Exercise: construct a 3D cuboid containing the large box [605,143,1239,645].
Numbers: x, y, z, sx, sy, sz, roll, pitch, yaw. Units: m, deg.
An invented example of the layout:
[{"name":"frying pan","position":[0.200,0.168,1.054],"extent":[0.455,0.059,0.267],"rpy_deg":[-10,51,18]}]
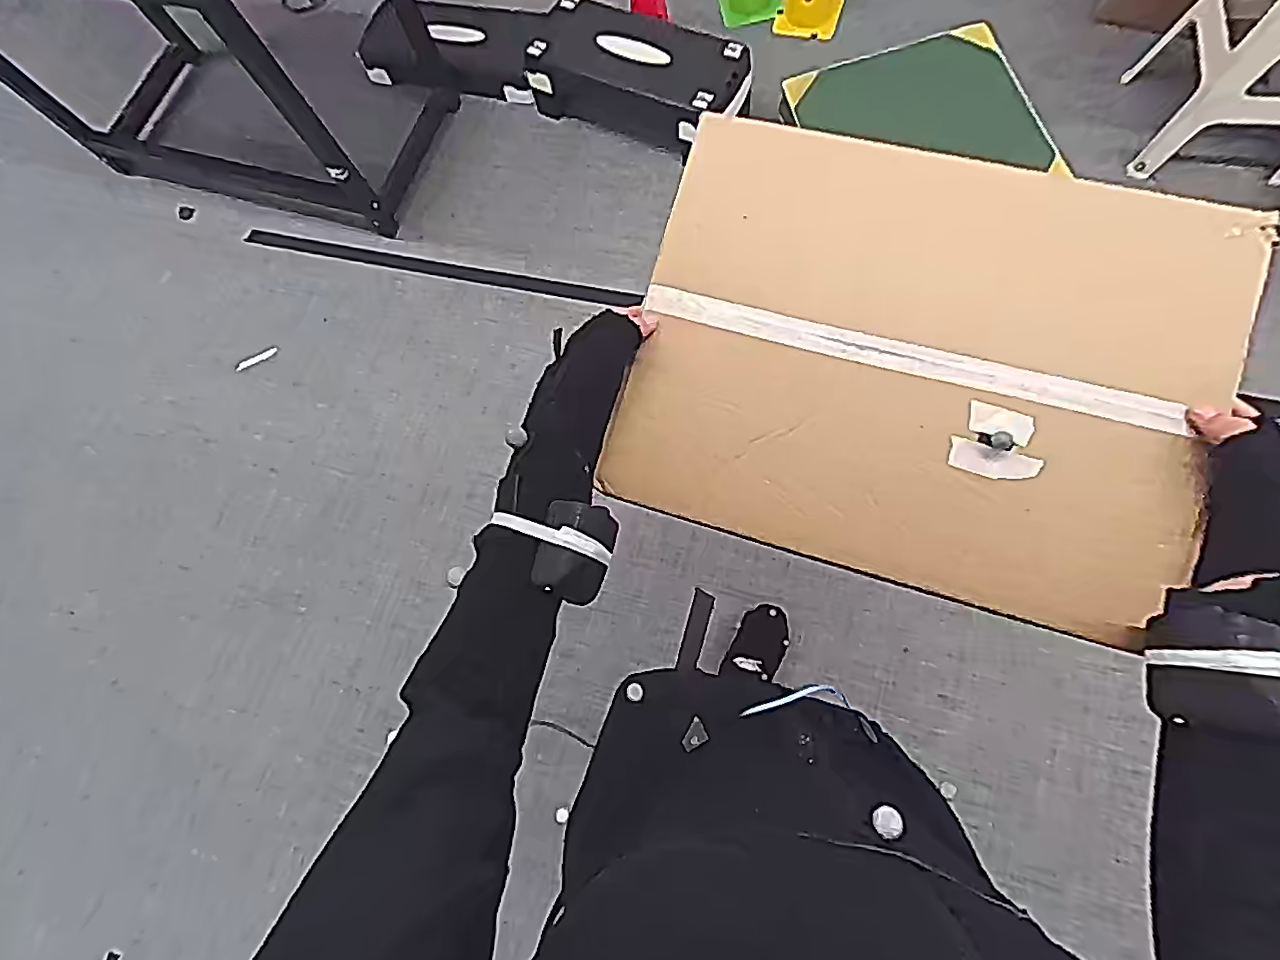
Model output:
[{"name":"large box","position":[0.215,-0.068,0.552],"extent":[0.408,0.320,0.320],"rpy_deg":[16,88,8]}]
